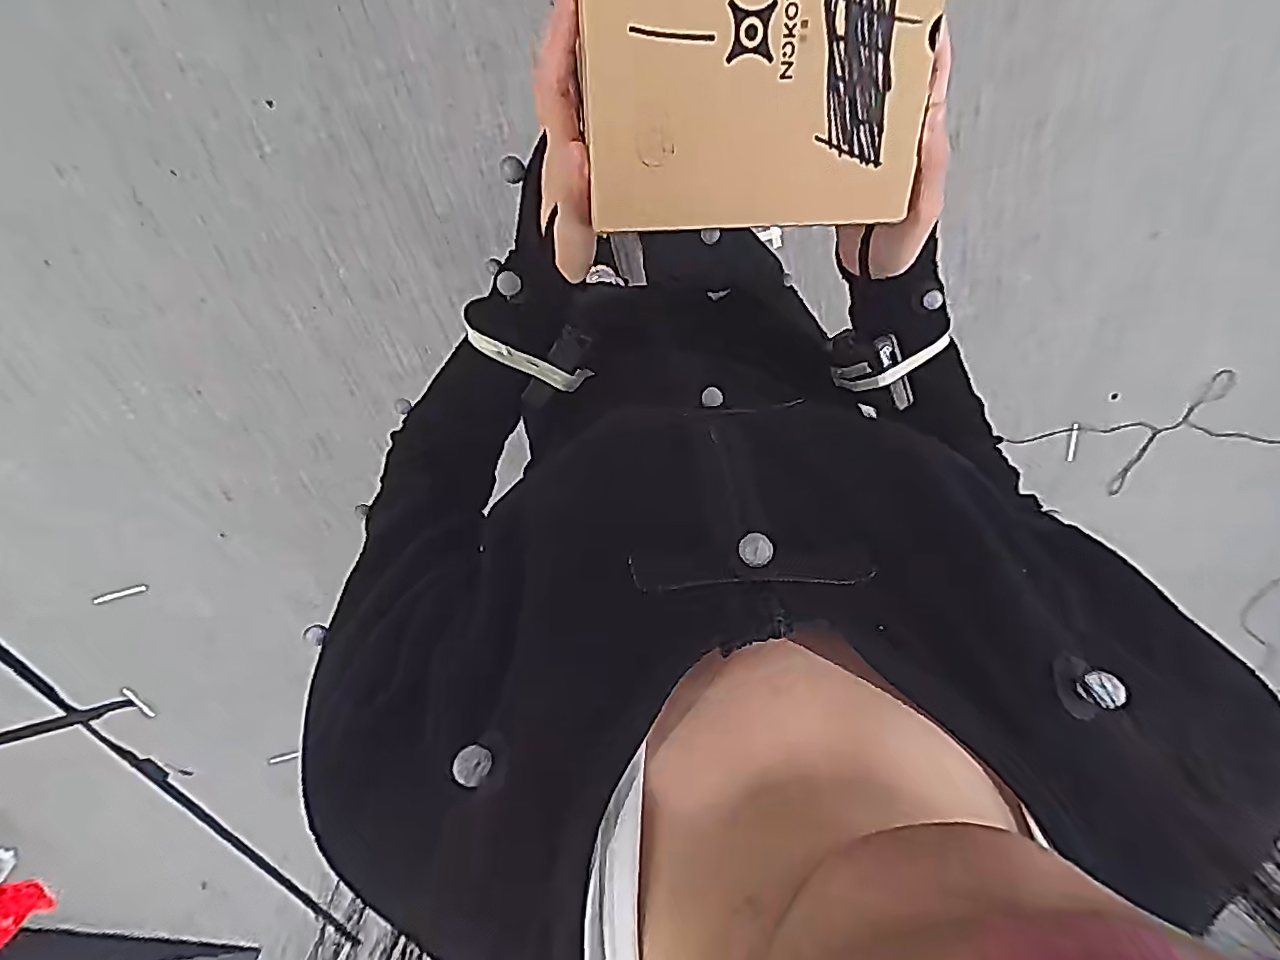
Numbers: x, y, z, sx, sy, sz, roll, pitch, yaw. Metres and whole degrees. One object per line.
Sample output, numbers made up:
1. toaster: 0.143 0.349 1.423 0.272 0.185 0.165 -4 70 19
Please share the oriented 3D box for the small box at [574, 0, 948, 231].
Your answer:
1. small box: 0.052 -0.249 0.324 0.179 0.176 0.168 -4 120 -4
